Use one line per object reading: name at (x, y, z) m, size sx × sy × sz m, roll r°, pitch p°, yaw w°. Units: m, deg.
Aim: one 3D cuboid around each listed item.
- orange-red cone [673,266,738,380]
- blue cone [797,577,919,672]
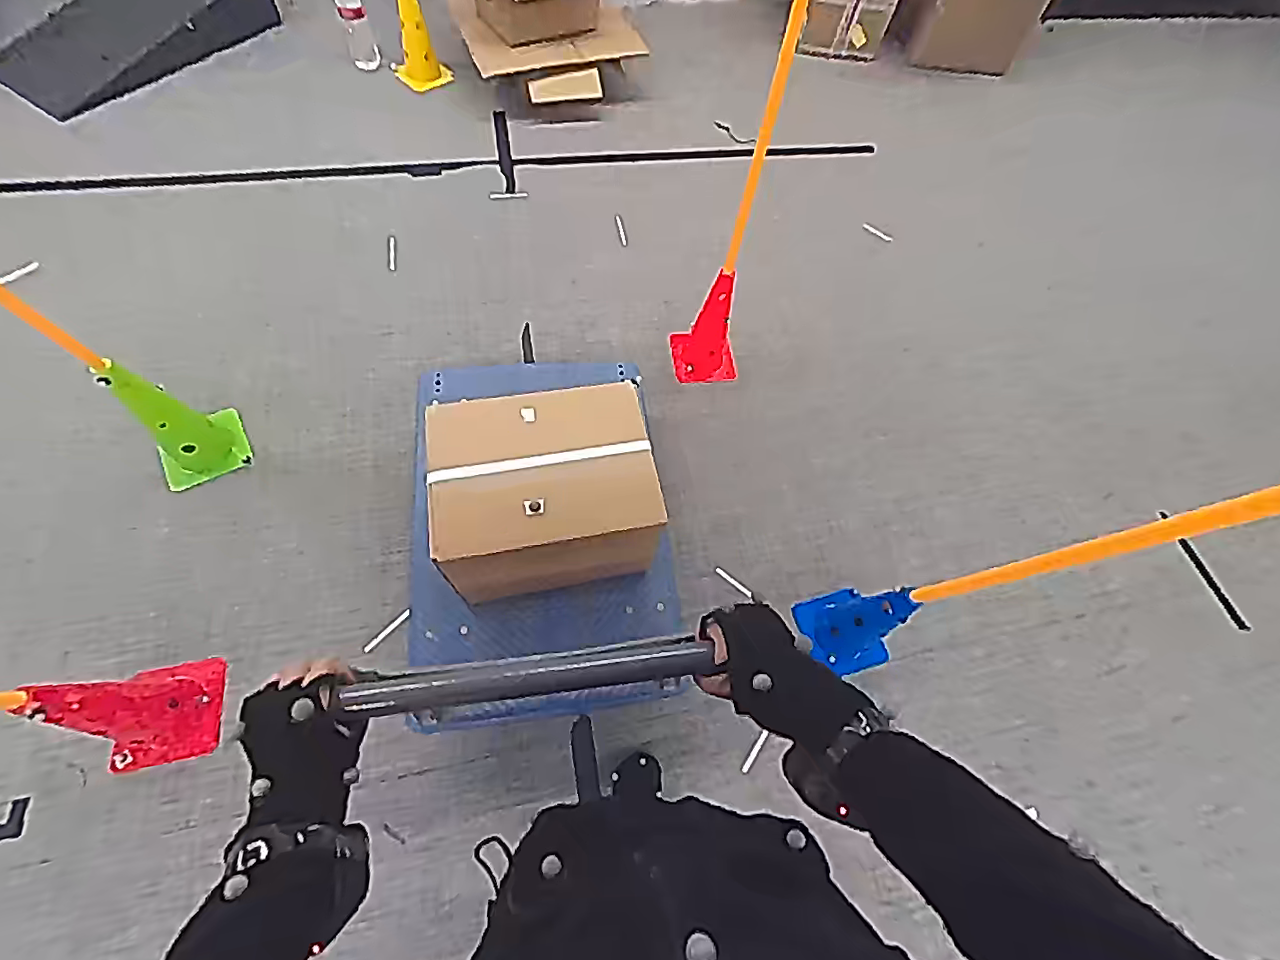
orange-red cone at (0.226, -0.479, 1.589) m, size 0.199 × 0.360 × 0.198 m, roll -2°, pitch 64°, yaw -8°
blue cone at (0.530, 0.306, 1.241) m, size 0.193 × 0.380 × 0.192 m, roll -12°, pitch 64°, yaw -12°
